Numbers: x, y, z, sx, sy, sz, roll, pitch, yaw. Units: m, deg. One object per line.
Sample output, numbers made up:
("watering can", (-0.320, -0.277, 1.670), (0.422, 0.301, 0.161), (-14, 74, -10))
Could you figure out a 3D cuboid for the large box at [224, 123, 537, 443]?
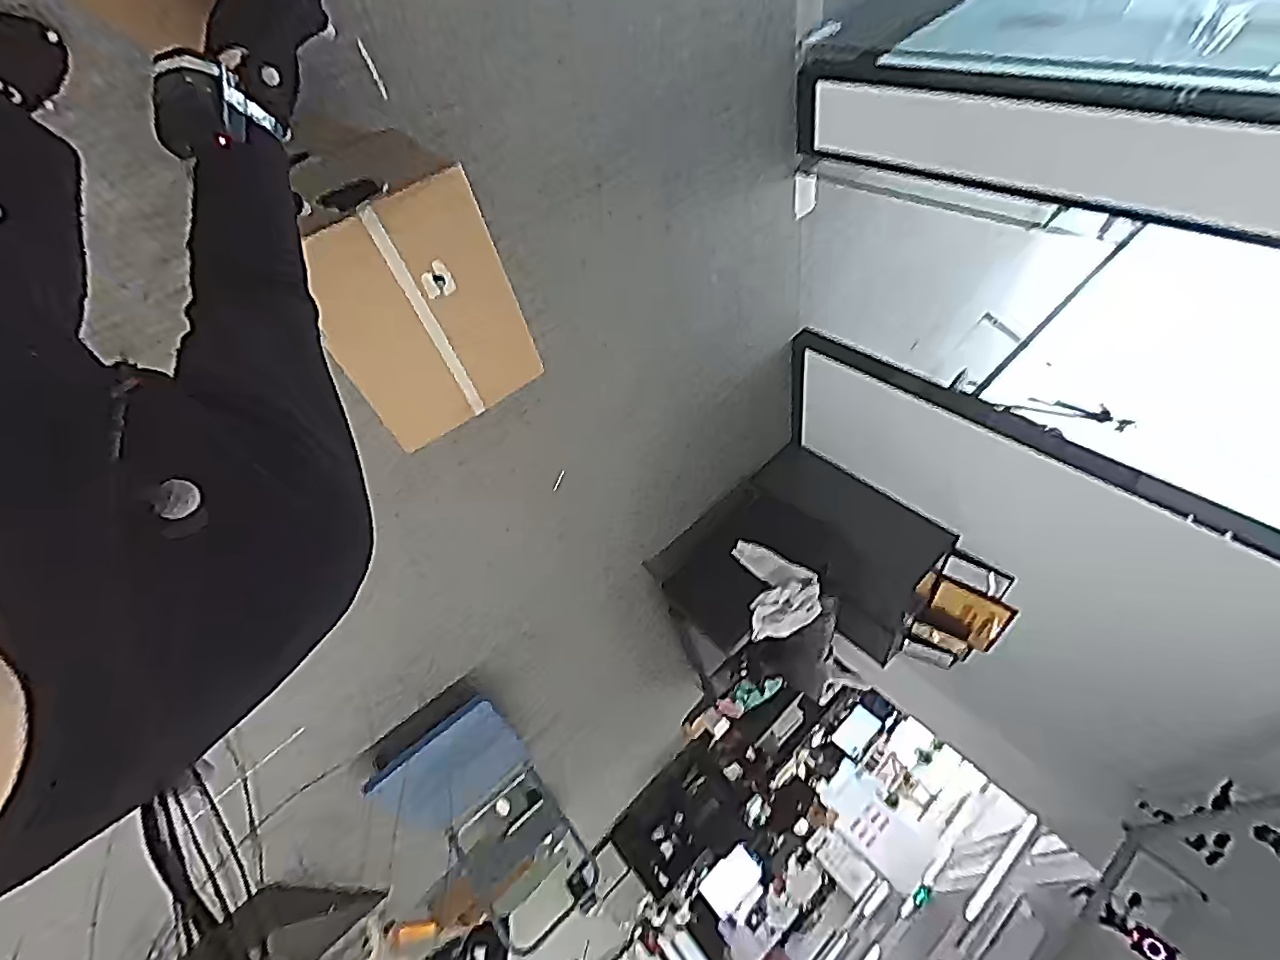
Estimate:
("large box", (-0.446, -0.352, 0.984), (0.320, 0.320, 0.408), (-35, 142, -15))
